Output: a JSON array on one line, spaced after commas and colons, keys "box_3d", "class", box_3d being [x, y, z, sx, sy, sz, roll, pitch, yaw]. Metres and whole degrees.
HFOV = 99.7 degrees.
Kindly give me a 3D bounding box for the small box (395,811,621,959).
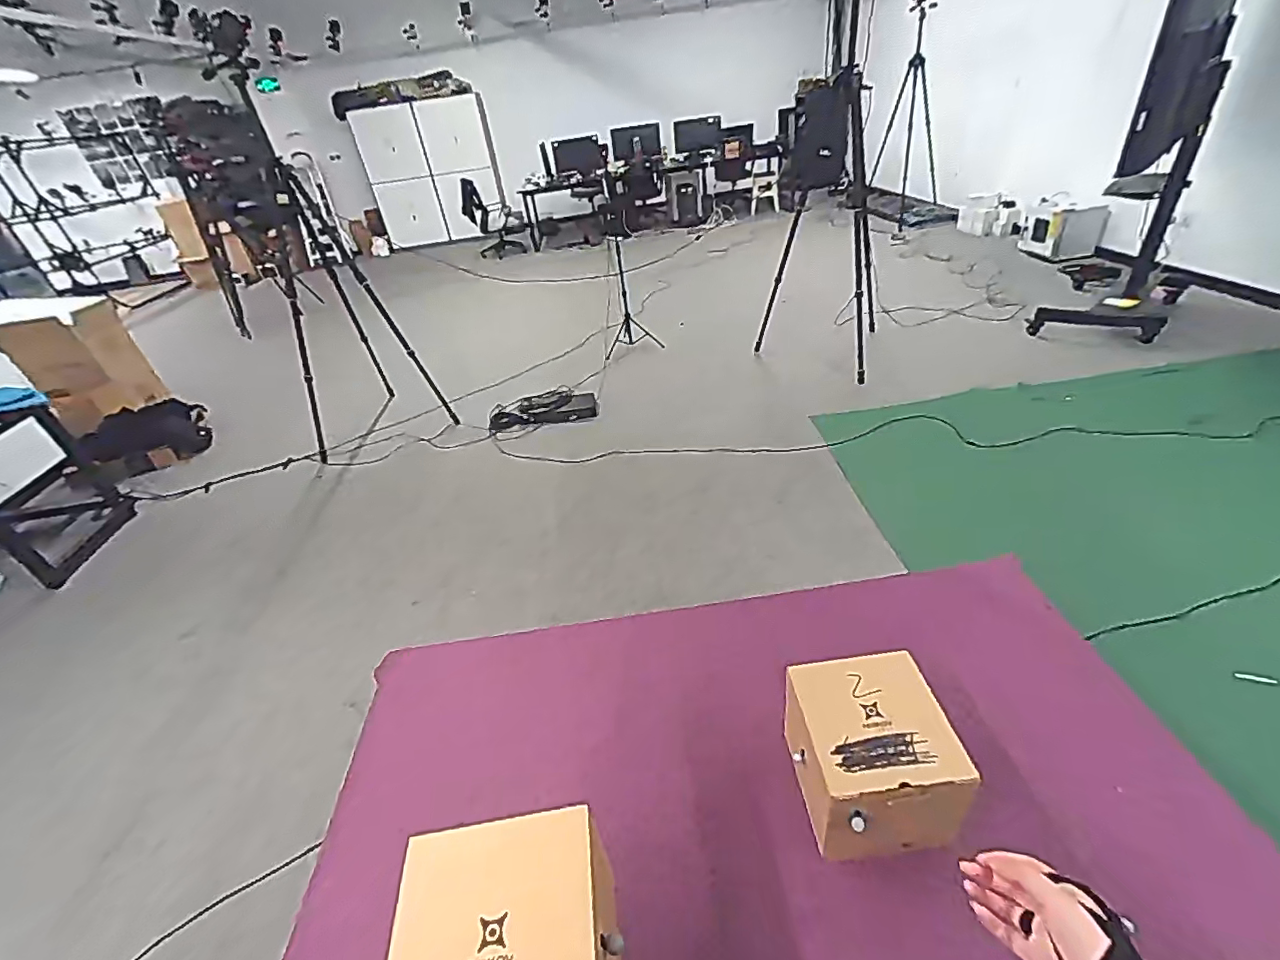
[{"box_3d": [-0.109, 0.439, 0.486, 0.168, 0.176, 0.179, -10, 38, -2], "class": "small box"}]
